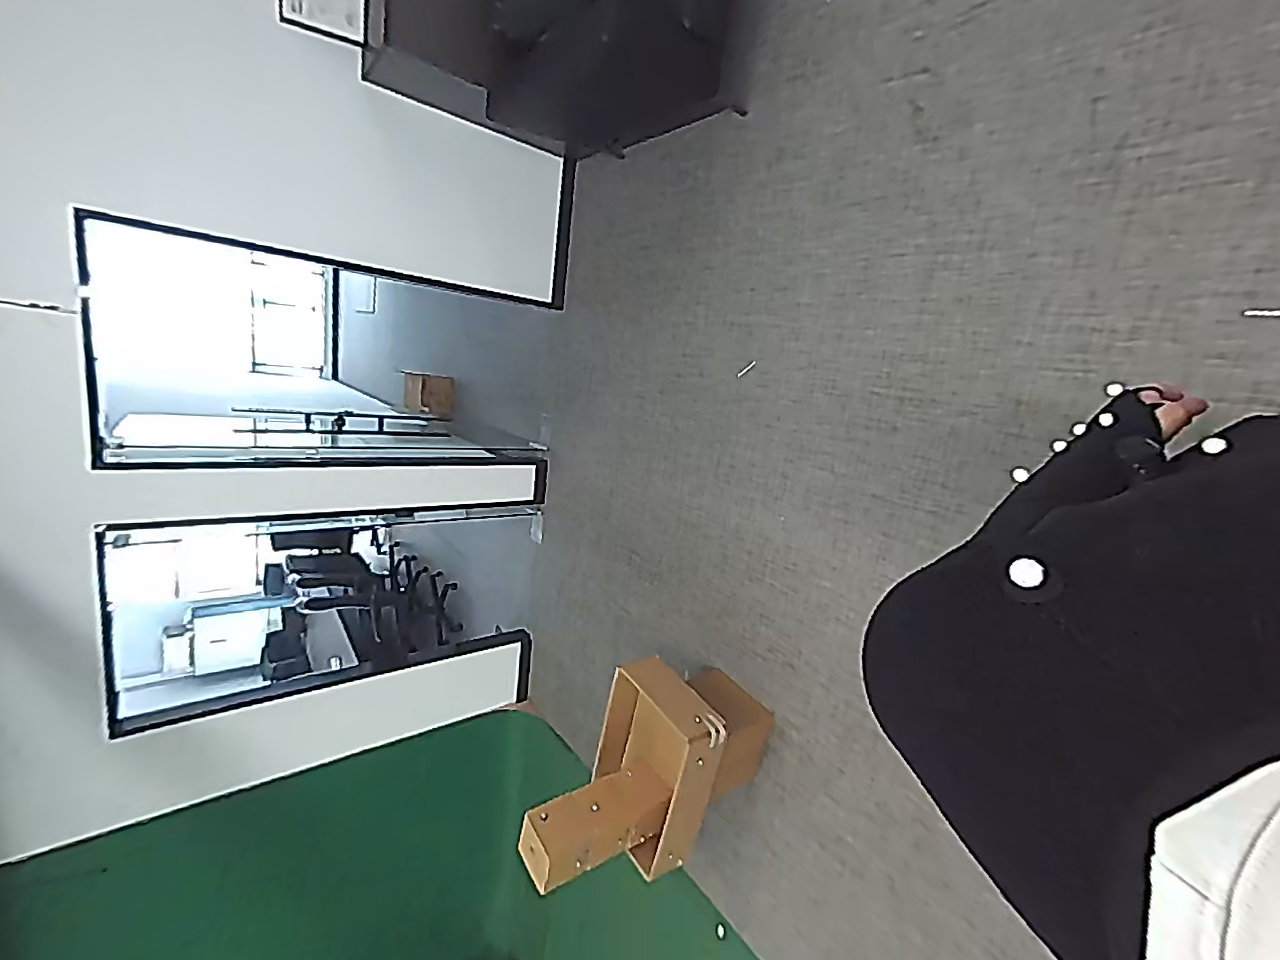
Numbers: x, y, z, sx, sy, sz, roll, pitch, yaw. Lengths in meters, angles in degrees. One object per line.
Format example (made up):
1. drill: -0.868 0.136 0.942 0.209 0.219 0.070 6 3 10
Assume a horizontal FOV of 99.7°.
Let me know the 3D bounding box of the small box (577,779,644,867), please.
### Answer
1. small box: -0.115 1.166 1.861 0.179 0.176 0.168 31 116 45

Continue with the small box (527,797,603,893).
1. small box: -0.245 1.174 1.760 0.179 0.176 0.168 33 118 44
